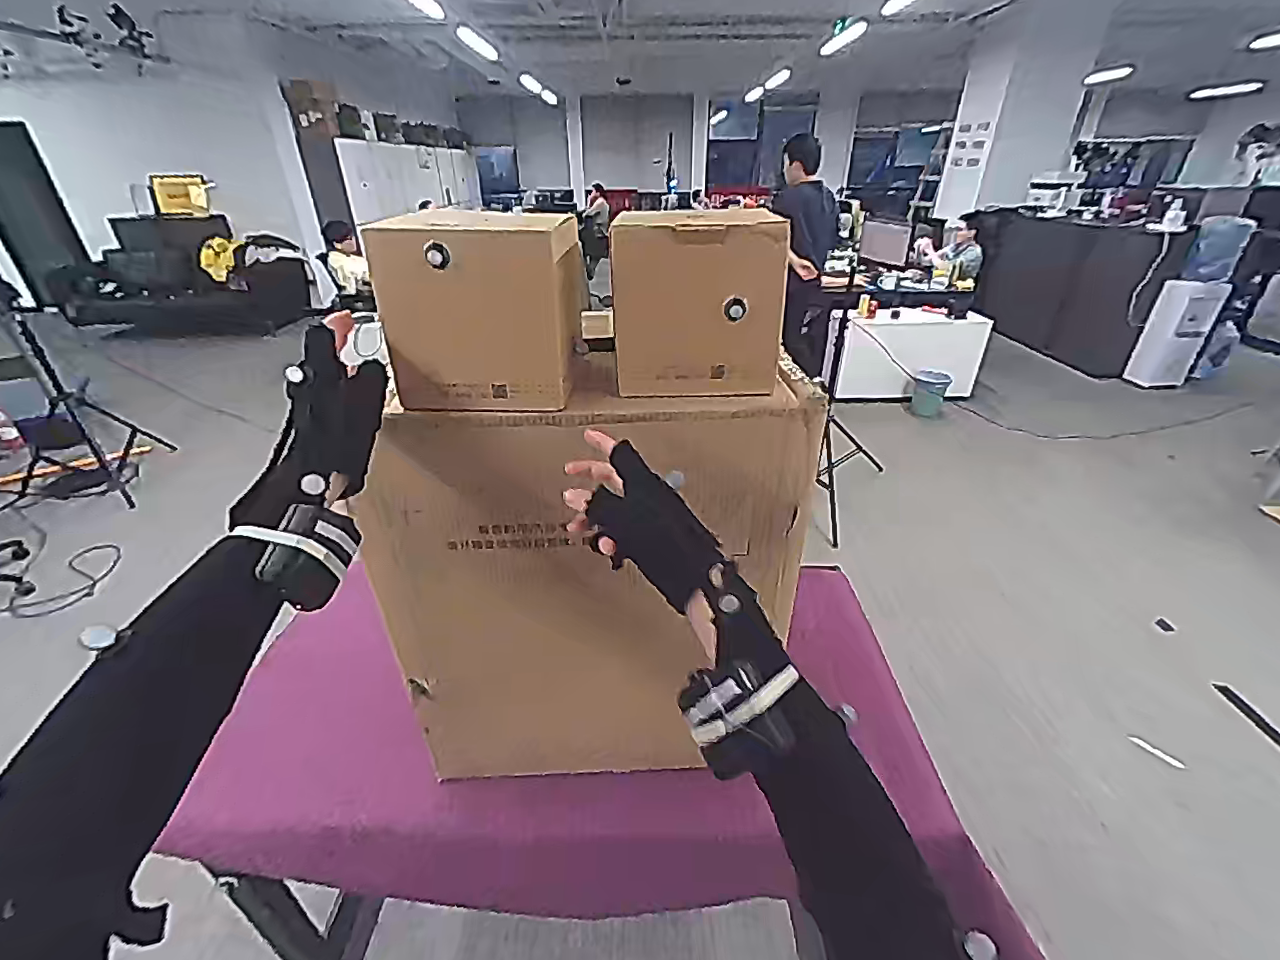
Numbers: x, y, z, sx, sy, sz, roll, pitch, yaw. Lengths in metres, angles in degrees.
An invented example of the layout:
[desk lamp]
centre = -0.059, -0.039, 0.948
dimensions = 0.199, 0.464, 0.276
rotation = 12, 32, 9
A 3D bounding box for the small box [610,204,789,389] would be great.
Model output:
[small box]
centre = 0.059, -0.204, 0.597
dimensions = 0.168, 0.176, 0.179
rotation = 0, 29, 2
